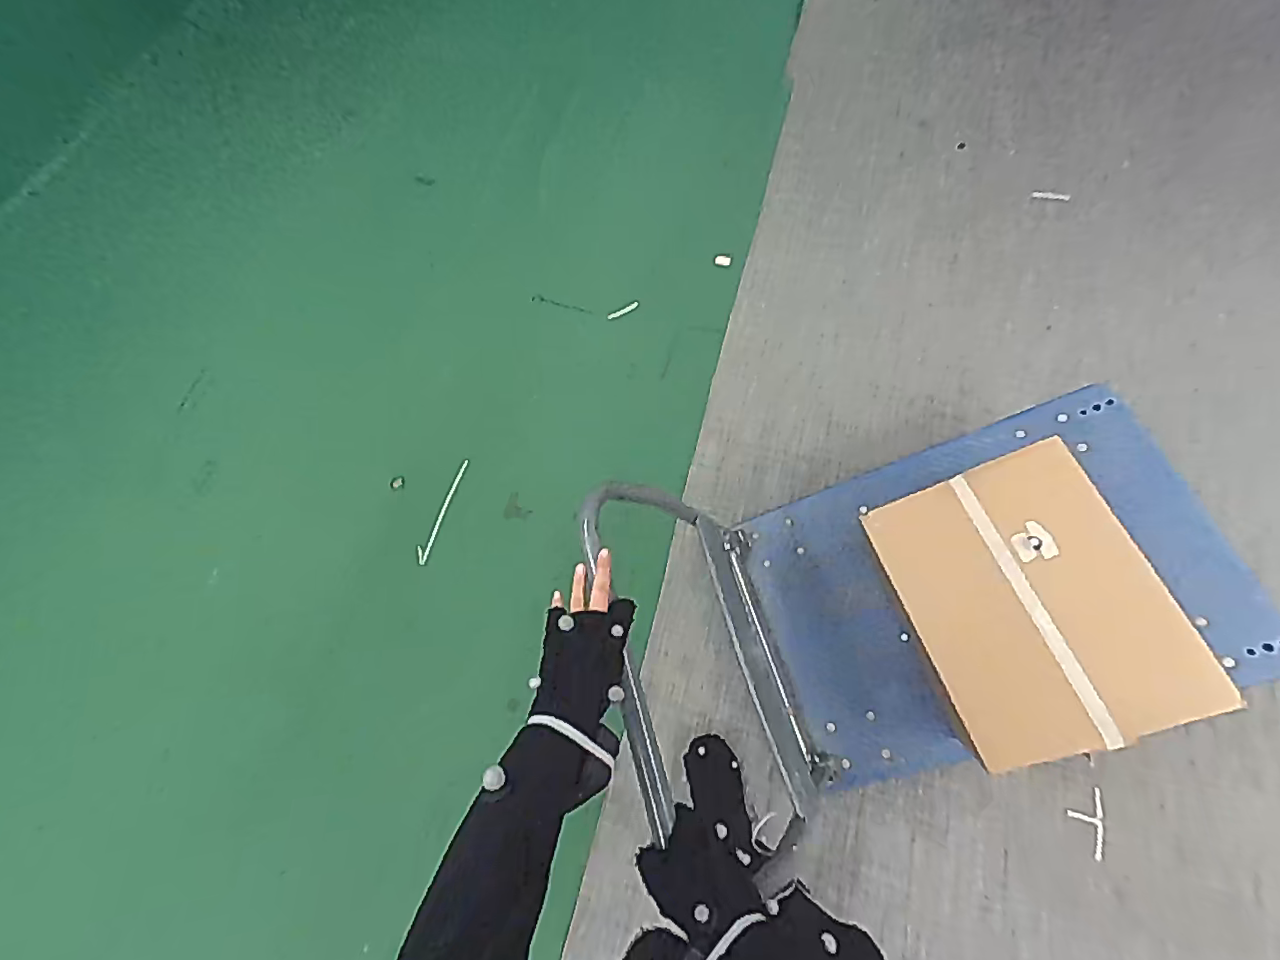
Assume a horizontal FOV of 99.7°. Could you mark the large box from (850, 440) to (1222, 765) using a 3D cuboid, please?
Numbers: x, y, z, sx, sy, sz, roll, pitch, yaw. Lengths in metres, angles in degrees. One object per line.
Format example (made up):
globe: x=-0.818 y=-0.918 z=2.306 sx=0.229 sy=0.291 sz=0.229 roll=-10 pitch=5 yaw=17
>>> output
large box: x=0.609 y=0.210 z=0.931 sx=0.320 sy=0.320 sz=0.408 roll=-25 pitch=66 yaw=15
